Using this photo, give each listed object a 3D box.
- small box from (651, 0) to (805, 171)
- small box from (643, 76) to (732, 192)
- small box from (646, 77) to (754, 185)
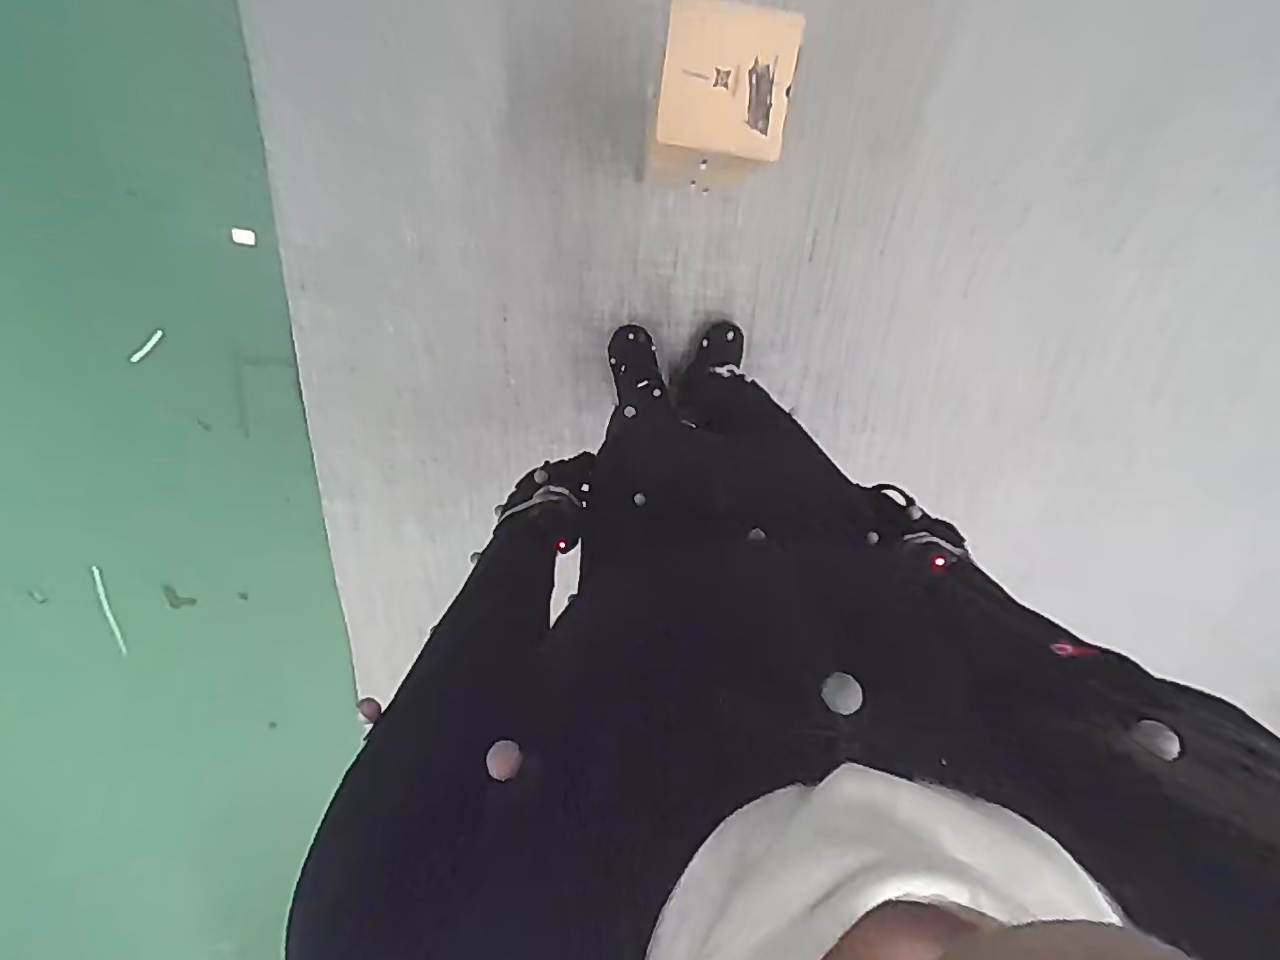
[{"bbox_3d":[0.115,-0.561,0.791,0.179,0.176,0.168,3,113,-4],"label":"small box"},{"bbox_3d":[0.101,-0.688,1.093,0.179,0.176,0.168,4,112,-2],"label":"small box"},{"bbox_3d":[0.109,-0.623,0.943,0.179,0.176,0.168,5,112,-4],"label":"small box"}]
